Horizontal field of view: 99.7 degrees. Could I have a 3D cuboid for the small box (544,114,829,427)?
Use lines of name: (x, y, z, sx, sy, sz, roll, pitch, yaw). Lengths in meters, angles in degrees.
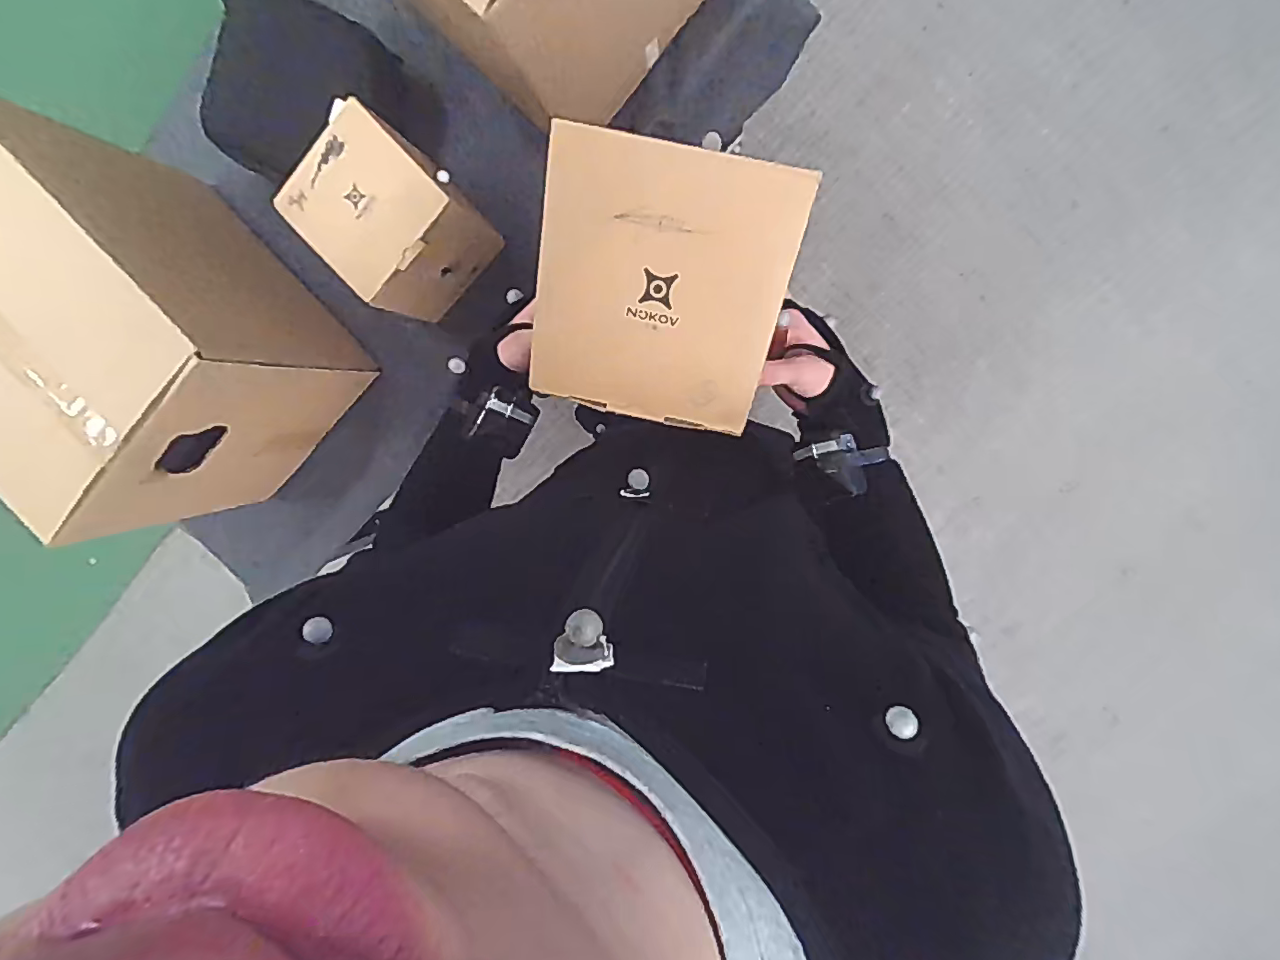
small box: (0.031, -0.167, 0.435, 0.168, 0.176, 0.179, 12, 119, 1)
